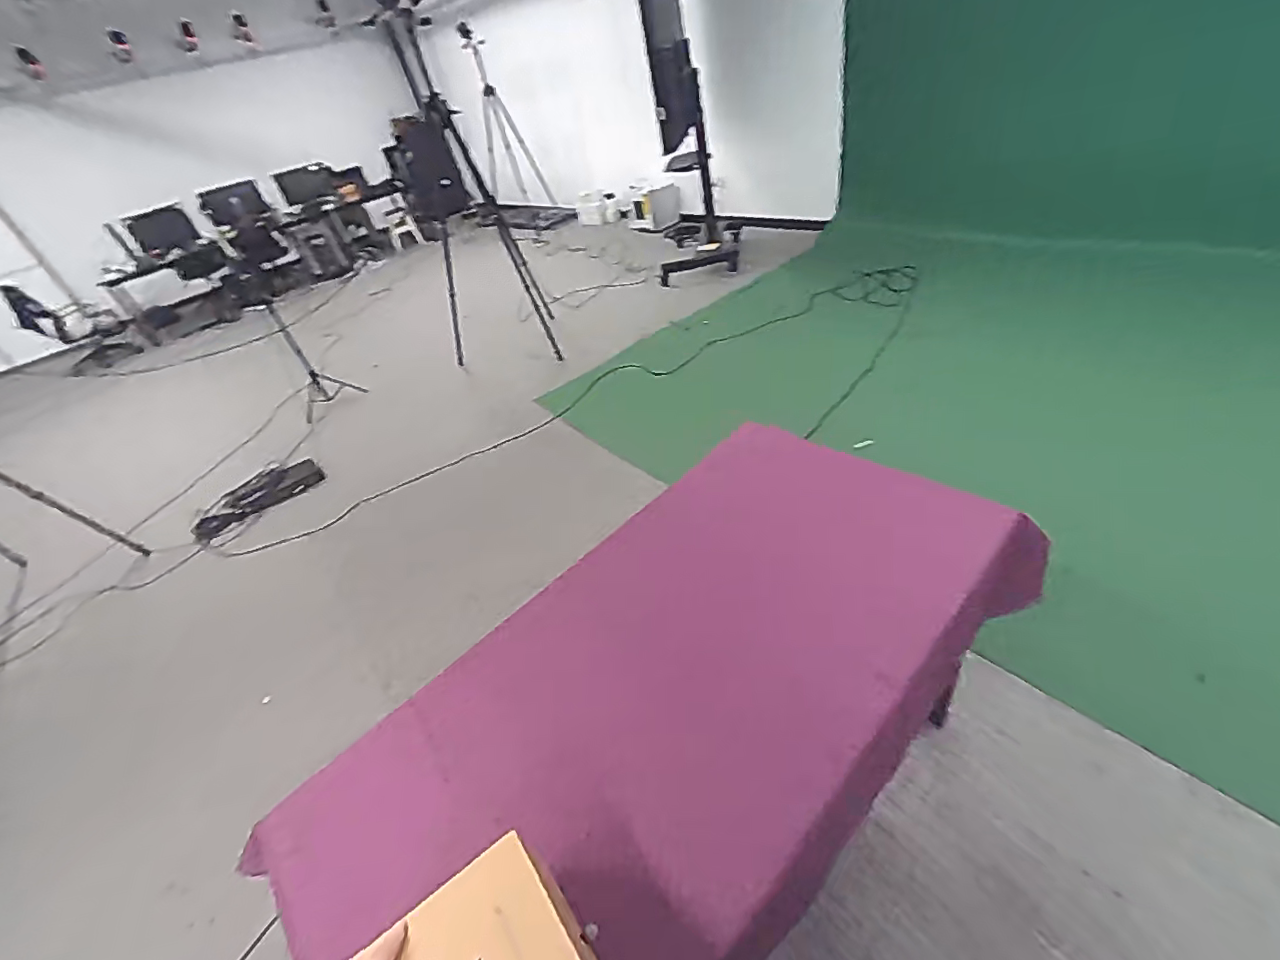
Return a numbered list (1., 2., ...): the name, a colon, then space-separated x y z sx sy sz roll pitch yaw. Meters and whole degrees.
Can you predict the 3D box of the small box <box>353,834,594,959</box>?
1. small box: -0.146 0.501 0.532 0.179 0.176 0.168 -30 52 -23
